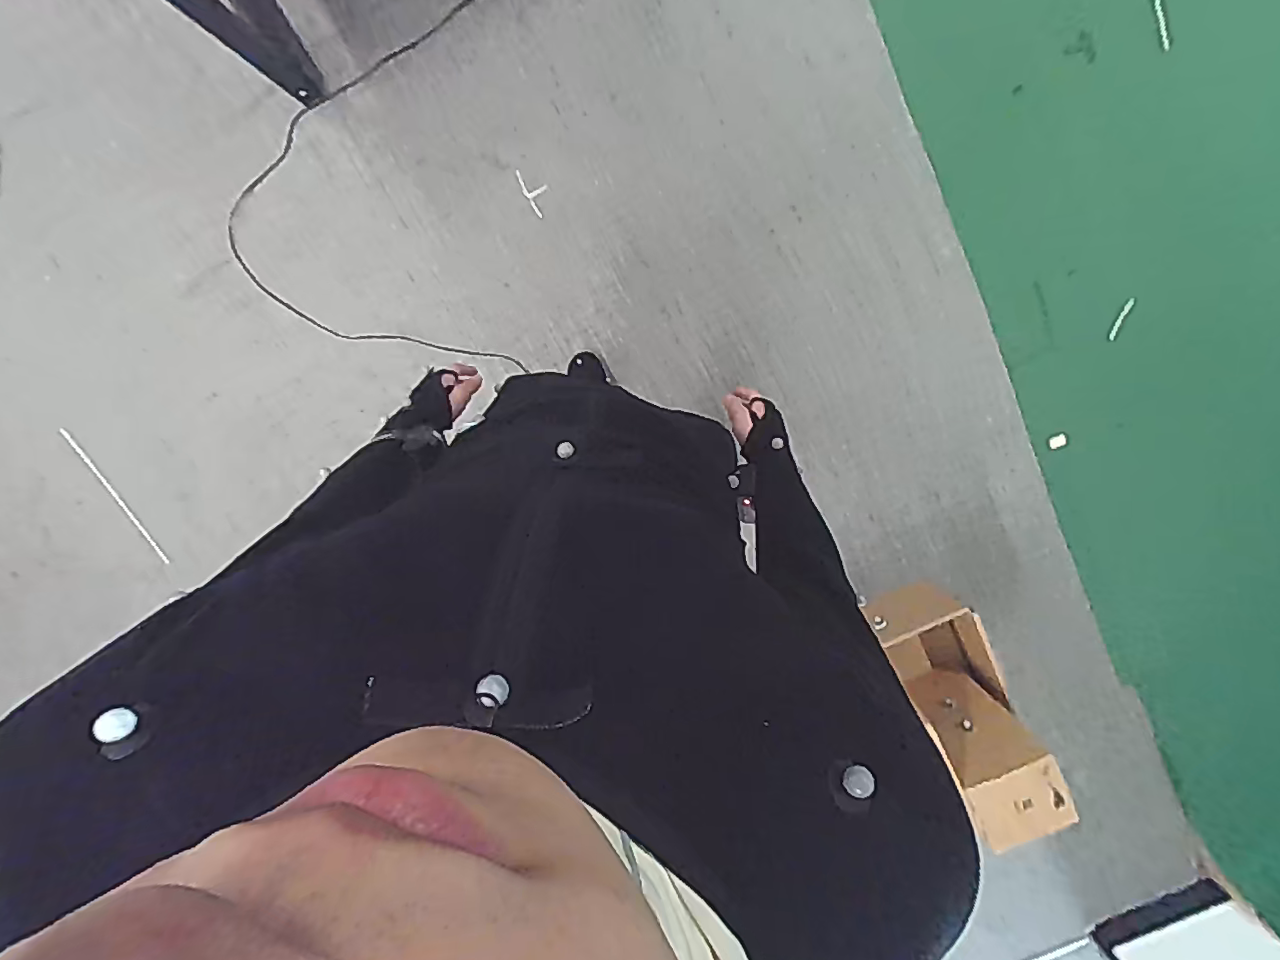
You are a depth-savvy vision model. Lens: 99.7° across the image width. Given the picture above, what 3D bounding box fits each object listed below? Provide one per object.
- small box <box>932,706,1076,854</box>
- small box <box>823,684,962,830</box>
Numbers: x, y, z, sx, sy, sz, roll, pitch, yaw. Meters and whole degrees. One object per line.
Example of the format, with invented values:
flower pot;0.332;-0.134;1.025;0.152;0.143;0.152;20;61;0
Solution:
small box;0.717;0.599;1.098;0.179;0.176;0.168;-26;101;6
small box;0.492;0.538;1.080;0.168;0.176;0.179;-28;102;6
